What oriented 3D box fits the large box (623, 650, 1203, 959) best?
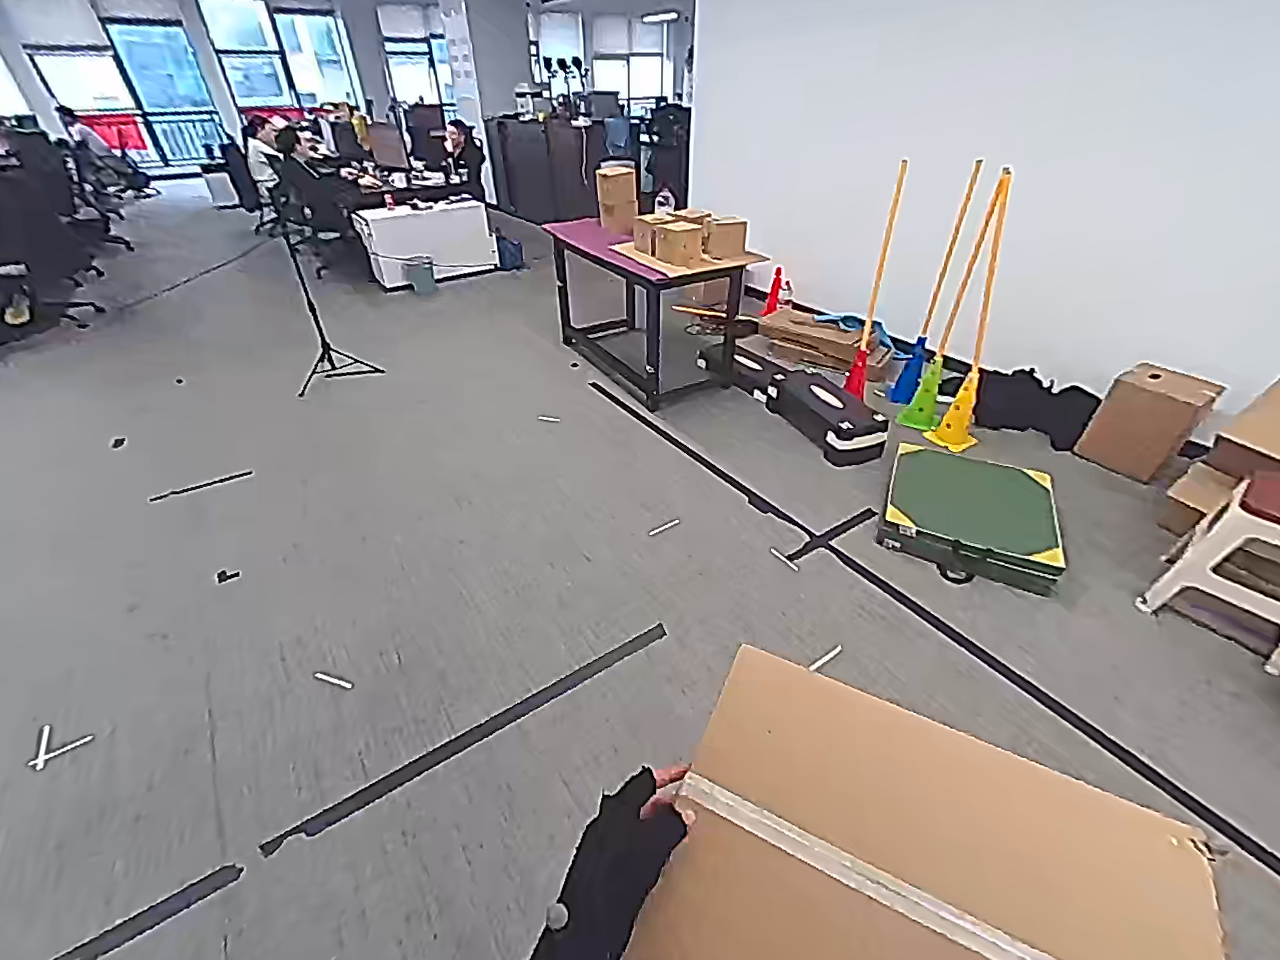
[{"bbox_3d":[0.232,0.447,0.555,0.408,0.320,0.320,18,50,21],"label":"large box"}]
